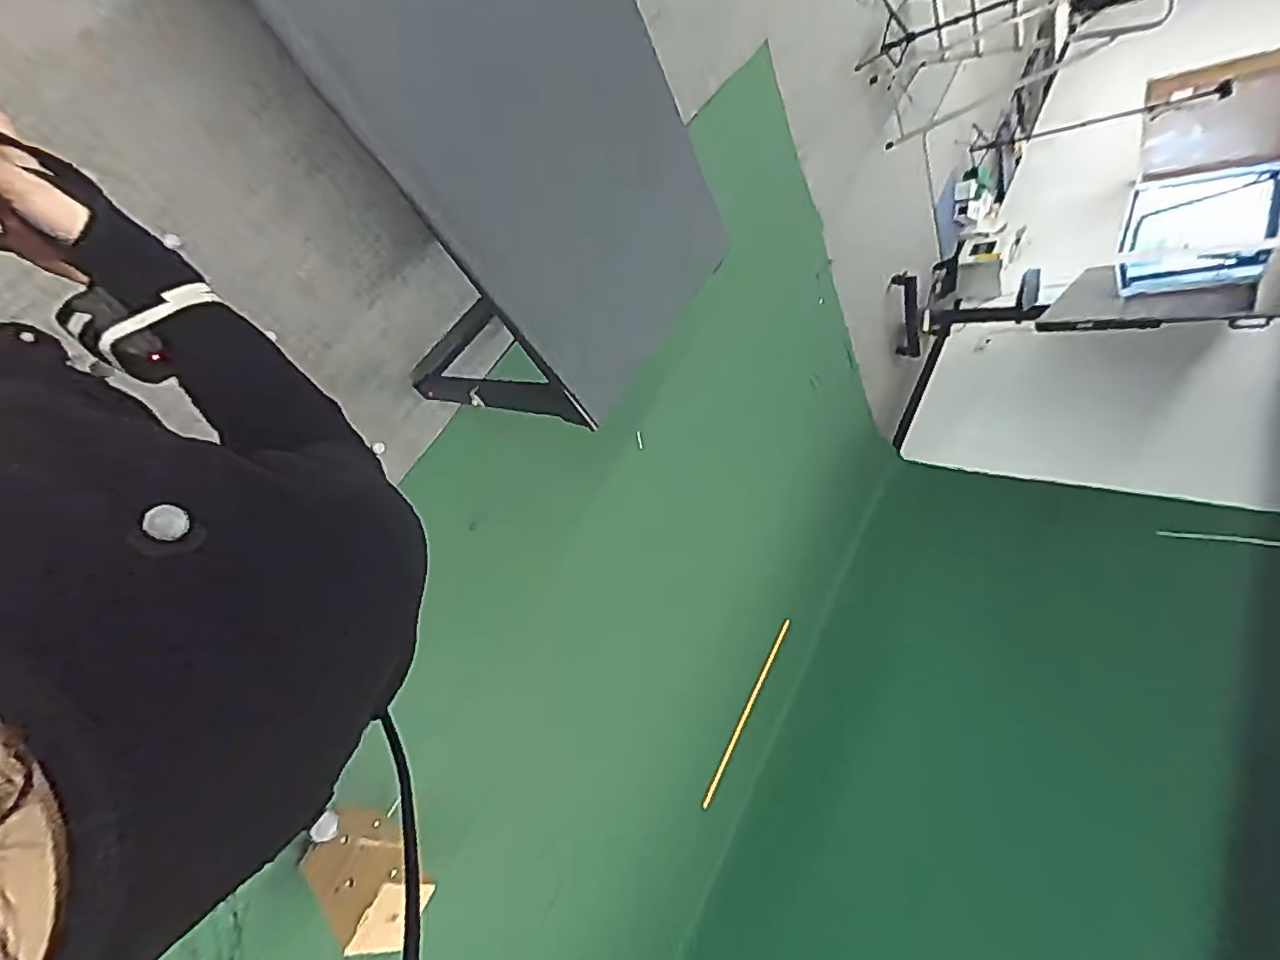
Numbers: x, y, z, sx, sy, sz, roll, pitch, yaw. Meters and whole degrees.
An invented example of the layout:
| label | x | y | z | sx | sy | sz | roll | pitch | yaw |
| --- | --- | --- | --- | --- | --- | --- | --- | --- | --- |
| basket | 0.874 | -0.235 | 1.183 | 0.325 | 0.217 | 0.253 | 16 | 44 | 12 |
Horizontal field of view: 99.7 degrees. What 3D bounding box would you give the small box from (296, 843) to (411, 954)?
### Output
| label | x | y | z | sx | sy | sz | roll | pitch | yaw |
| --- | --- | --- | --- | --- | --- | --- | --- | --- | --- |
| small box | -0.752 | 1.087 | 1.417 | 0.179 | 0.176 | 0.168 | 48 | 65 | -45 |
